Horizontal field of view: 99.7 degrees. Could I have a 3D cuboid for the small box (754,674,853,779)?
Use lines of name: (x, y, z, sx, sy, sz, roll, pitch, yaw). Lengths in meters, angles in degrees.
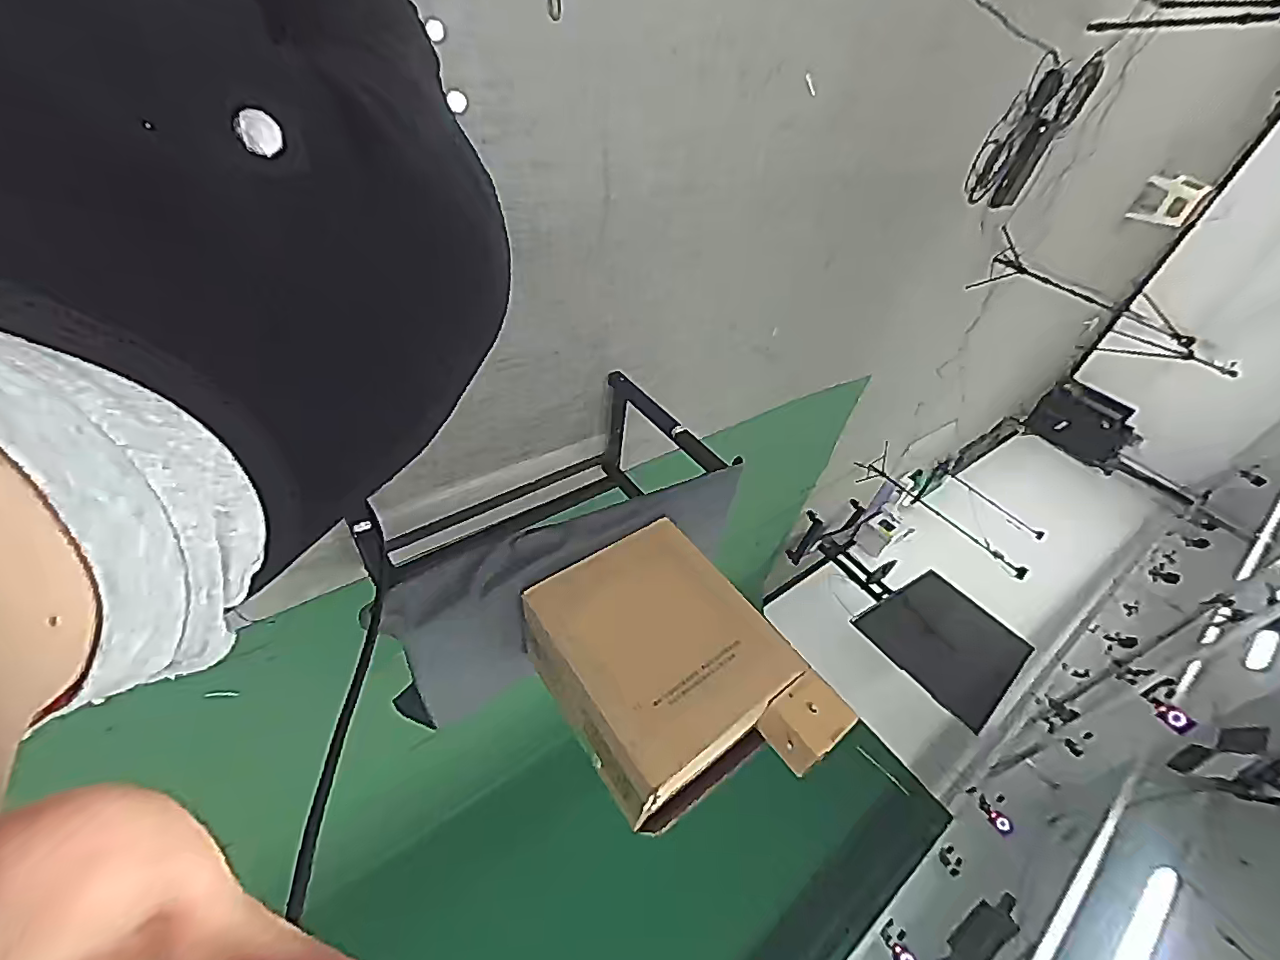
small box: (0.431, 0.655, 1.453, 0.168, 0.176, 0.179, -27, 144, -28)
